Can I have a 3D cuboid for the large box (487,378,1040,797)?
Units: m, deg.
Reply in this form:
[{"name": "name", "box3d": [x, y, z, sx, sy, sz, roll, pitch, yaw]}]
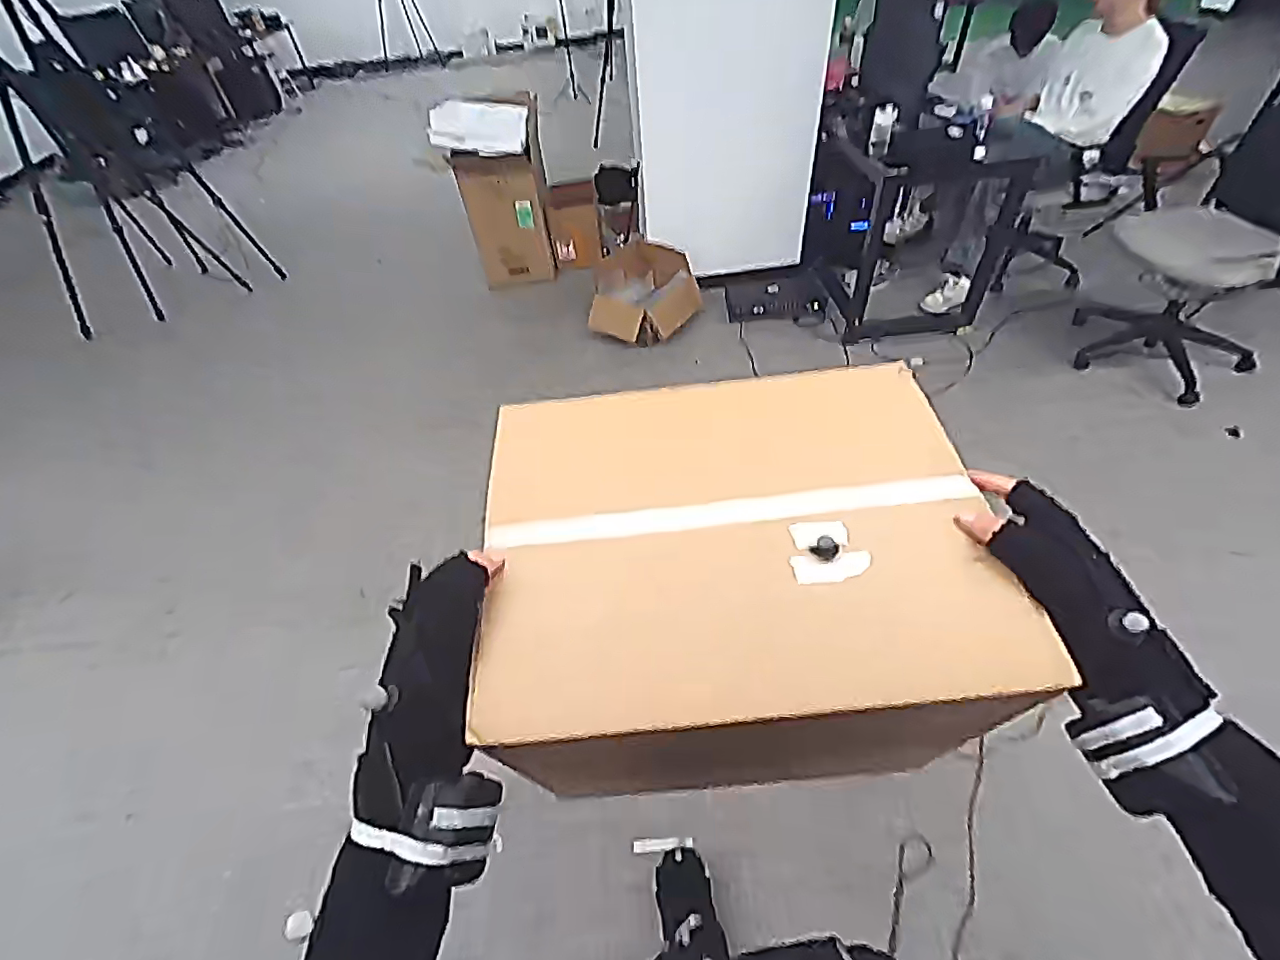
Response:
[{"name": "large box", "box3d": [0.083, 0.127, 0.586, 0.408, 0.320, 0.320, -6, 53, 1]}]
